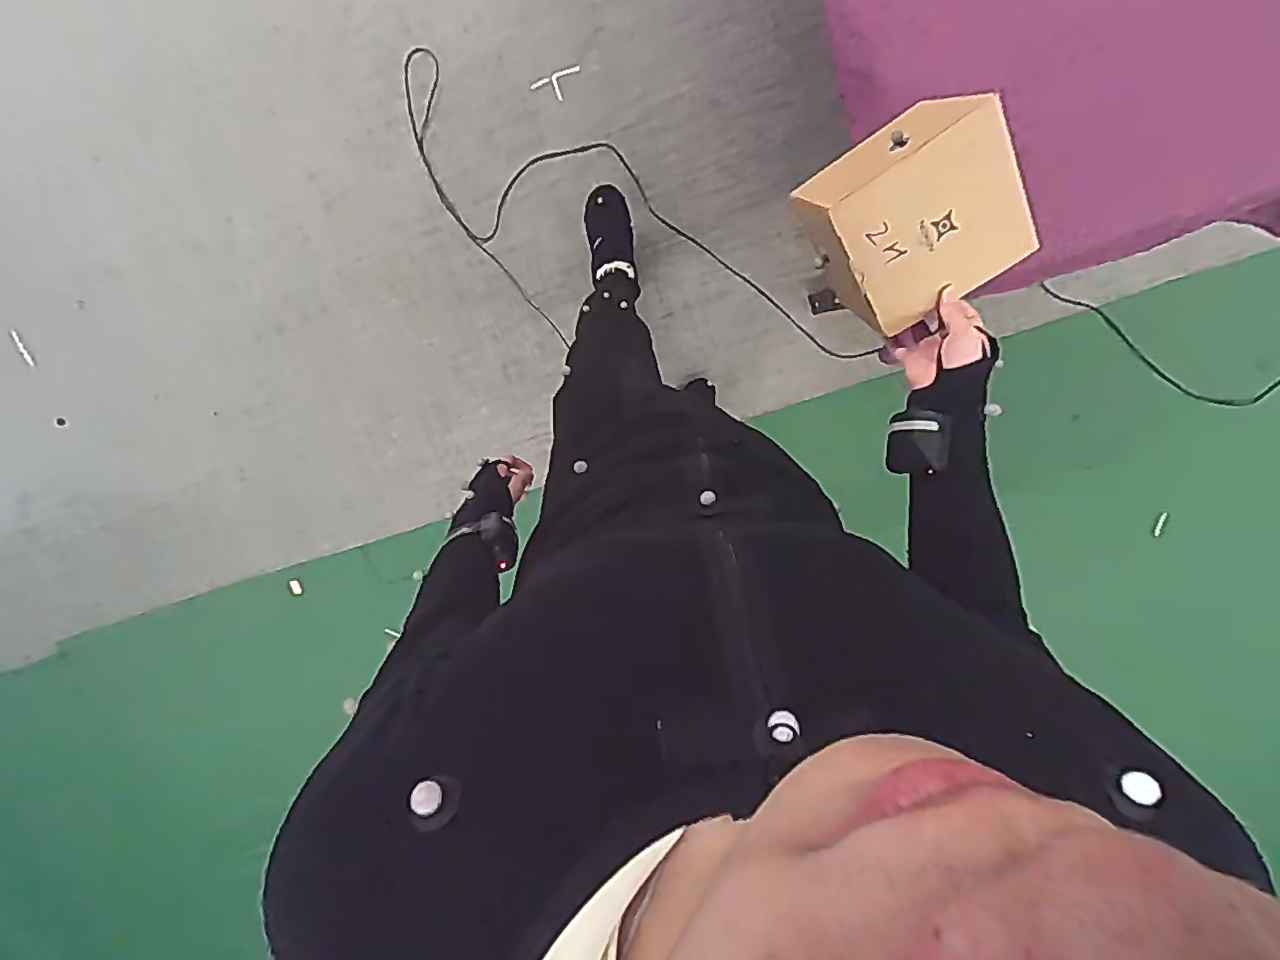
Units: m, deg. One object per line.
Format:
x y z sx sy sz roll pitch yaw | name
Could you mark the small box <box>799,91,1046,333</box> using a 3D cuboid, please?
0.311 -0.307 0.624 0.179 0.176 0.168 -30 117 19 | small box
